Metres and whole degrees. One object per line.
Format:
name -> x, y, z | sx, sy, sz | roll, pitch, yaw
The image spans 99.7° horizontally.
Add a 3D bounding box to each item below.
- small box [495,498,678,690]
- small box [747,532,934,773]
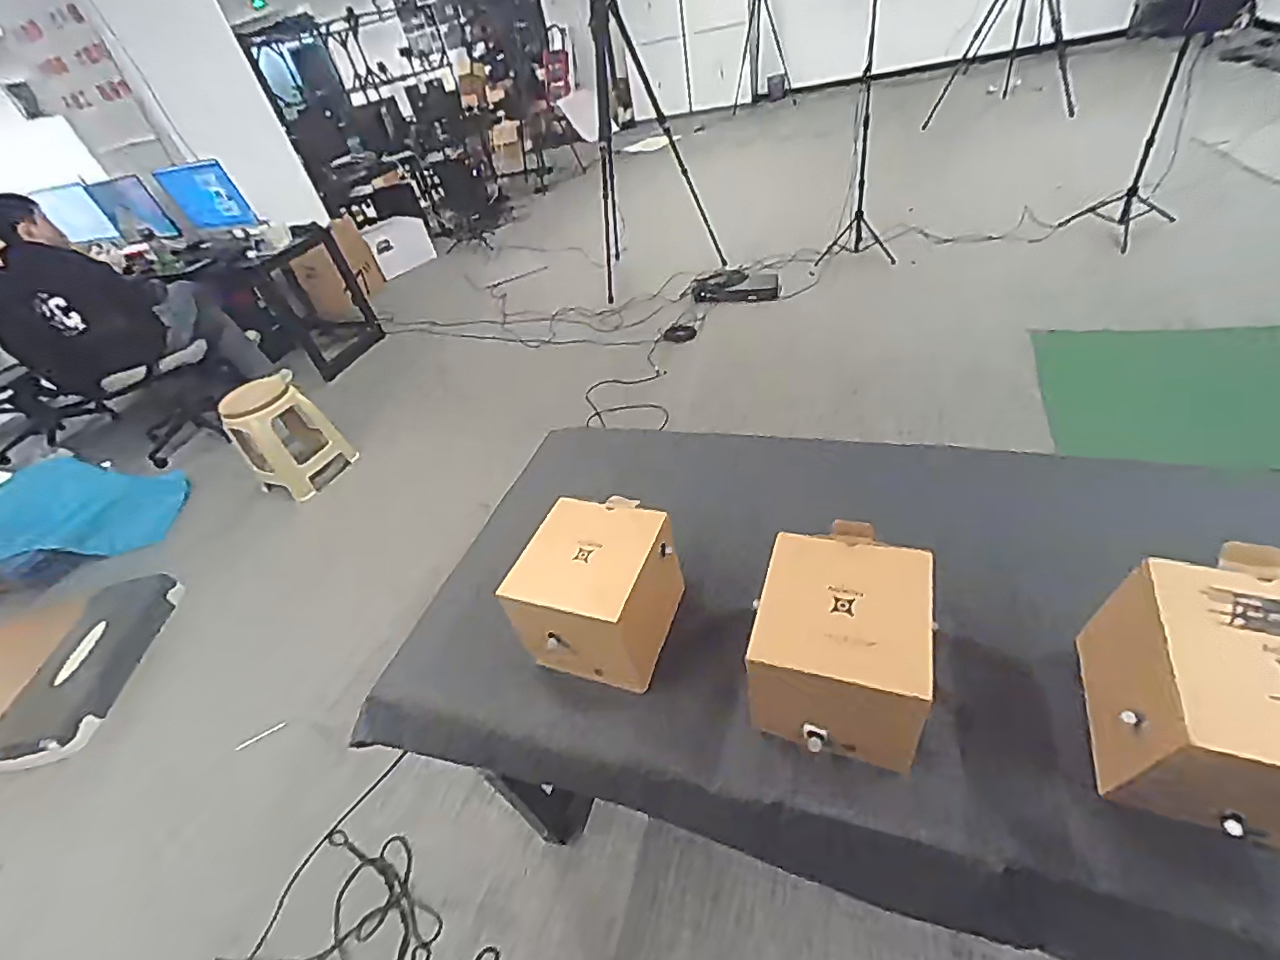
small box -> -0.056, 0.150, 0.720 | 0.168, 0.176, 0.179 | 6, 43, 22
small box -> 0.222, 0.185, 0.600 | 0.168, 0.176, 0.179 | 5, 44, 23
